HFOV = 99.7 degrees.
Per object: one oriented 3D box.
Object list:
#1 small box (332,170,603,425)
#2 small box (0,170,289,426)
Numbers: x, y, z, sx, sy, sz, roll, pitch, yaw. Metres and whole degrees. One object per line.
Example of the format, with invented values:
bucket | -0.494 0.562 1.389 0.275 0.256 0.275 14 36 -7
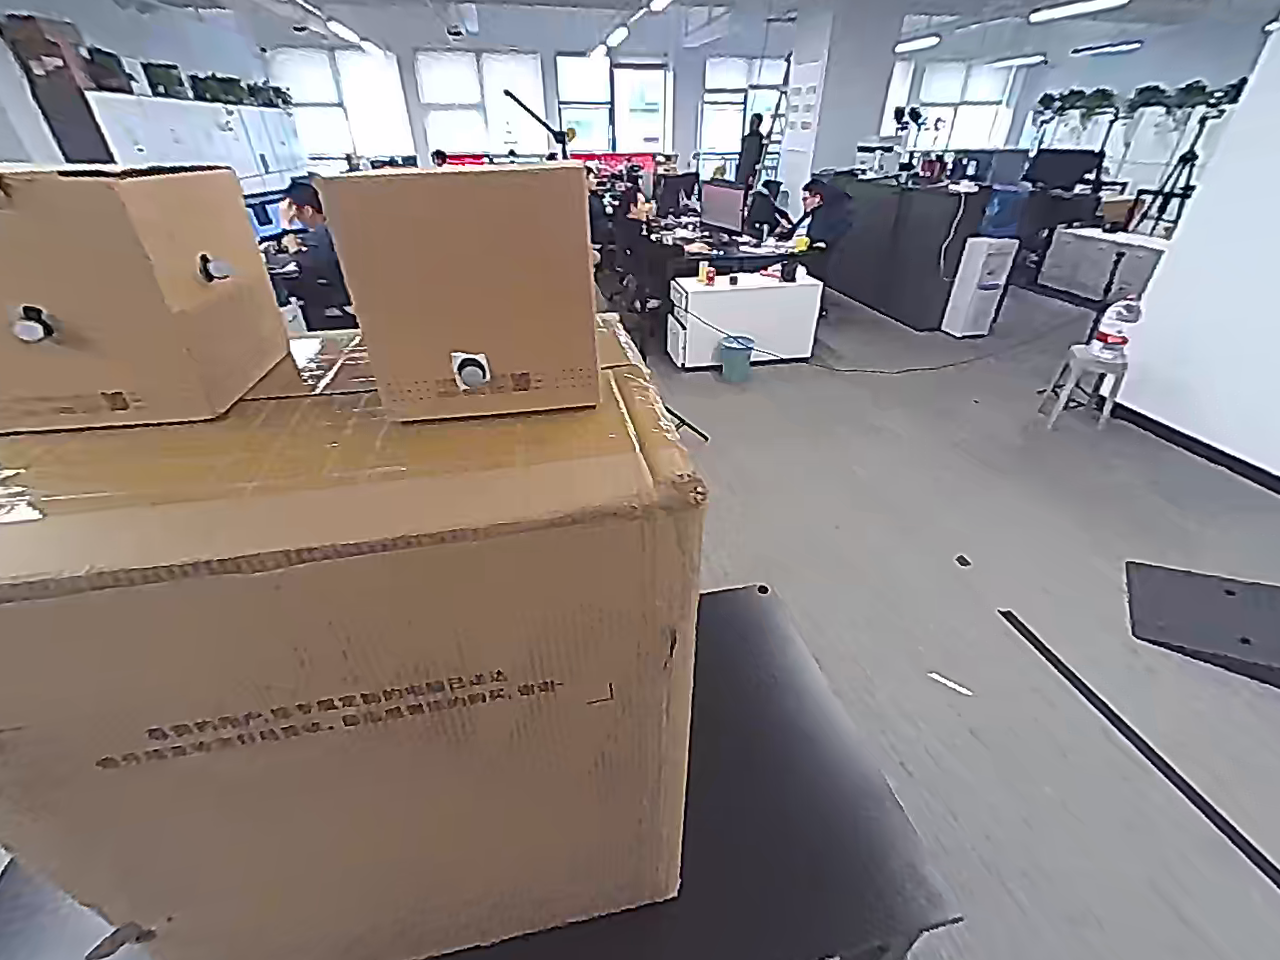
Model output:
small box | -0.125 -0.161 0.459 0.168 0.176 0.179 -7 33 -7
small box | -0.421 -0.151 0.442 0.168 0.176 0.179 -6 32 -11
